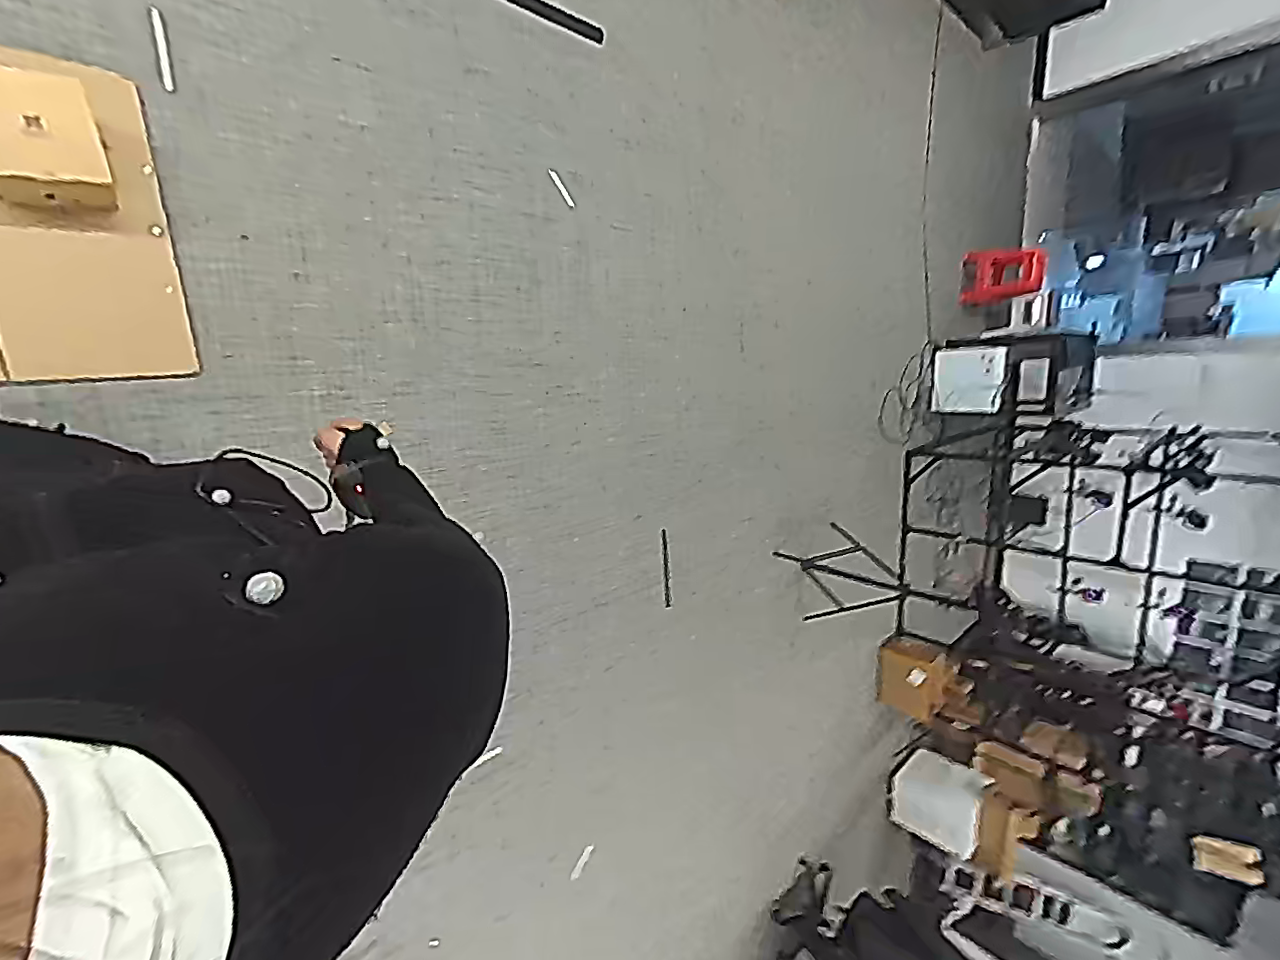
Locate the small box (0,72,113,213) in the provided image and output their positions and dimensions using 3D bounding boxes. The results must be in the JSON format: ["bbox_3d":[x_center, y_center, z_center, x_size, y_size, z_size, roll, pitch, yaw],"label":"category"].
[{"bbox_3d":[-1.107,-0.611,0.991,0.168,0.176,0.179,-19,108,-39],"label":"small box"}]
